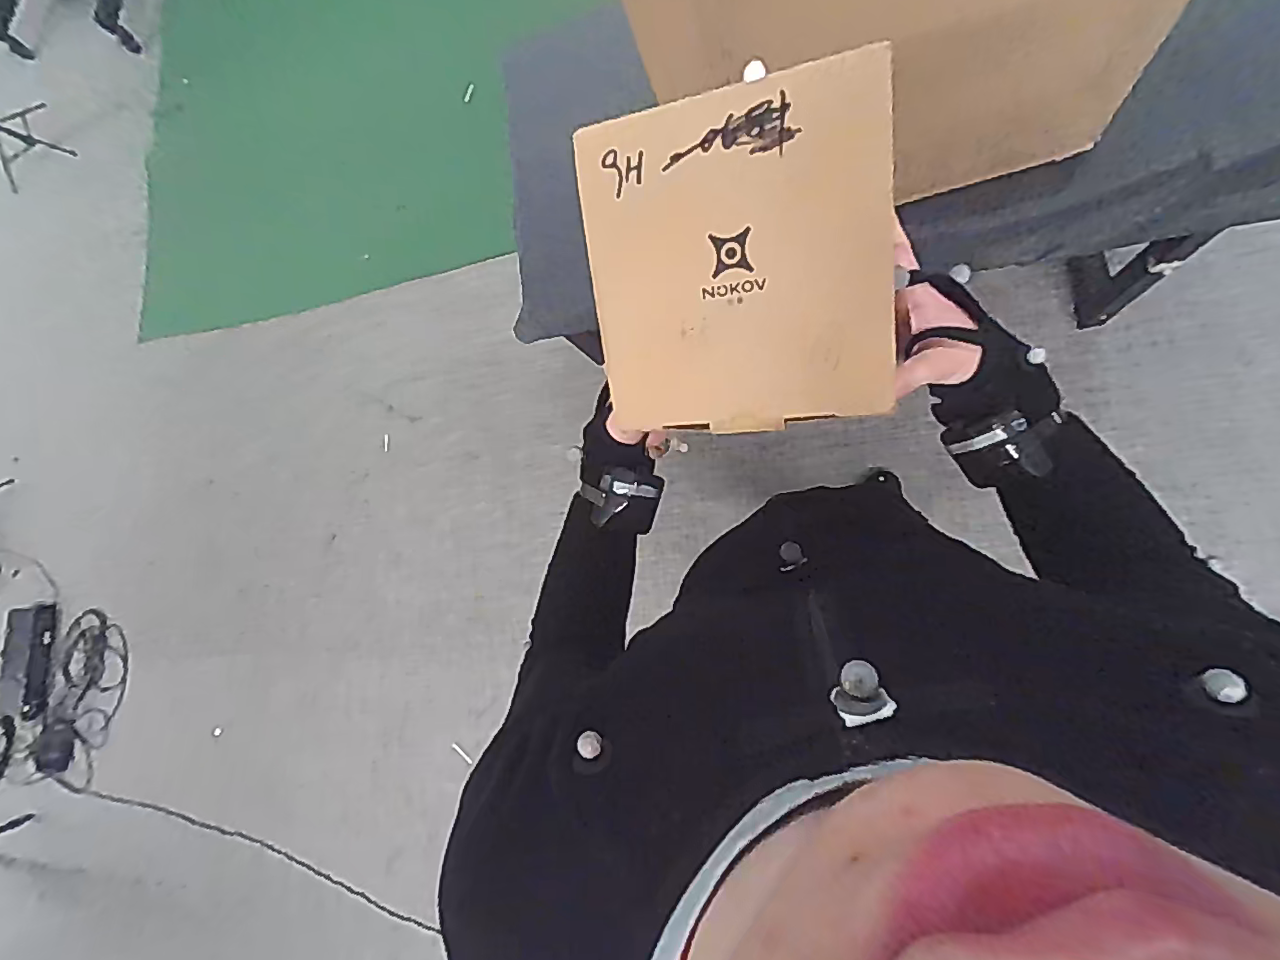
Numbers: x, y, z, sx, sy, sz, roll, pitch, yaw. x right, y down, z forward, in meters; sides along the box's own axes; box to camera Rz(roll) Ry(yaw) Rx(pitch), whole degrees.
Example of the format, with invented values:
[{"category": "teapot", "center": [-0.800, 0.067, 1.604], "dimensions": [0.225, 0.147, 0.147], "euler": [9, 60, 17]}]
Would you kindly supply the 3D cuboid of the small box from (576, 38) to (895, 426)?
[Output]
[{"category": "small box", "center": [0.077, -0.145, 0.370], "dimensions": [0.168, 0.176, 0.179], "euler": [-3, 108, 19]}]
